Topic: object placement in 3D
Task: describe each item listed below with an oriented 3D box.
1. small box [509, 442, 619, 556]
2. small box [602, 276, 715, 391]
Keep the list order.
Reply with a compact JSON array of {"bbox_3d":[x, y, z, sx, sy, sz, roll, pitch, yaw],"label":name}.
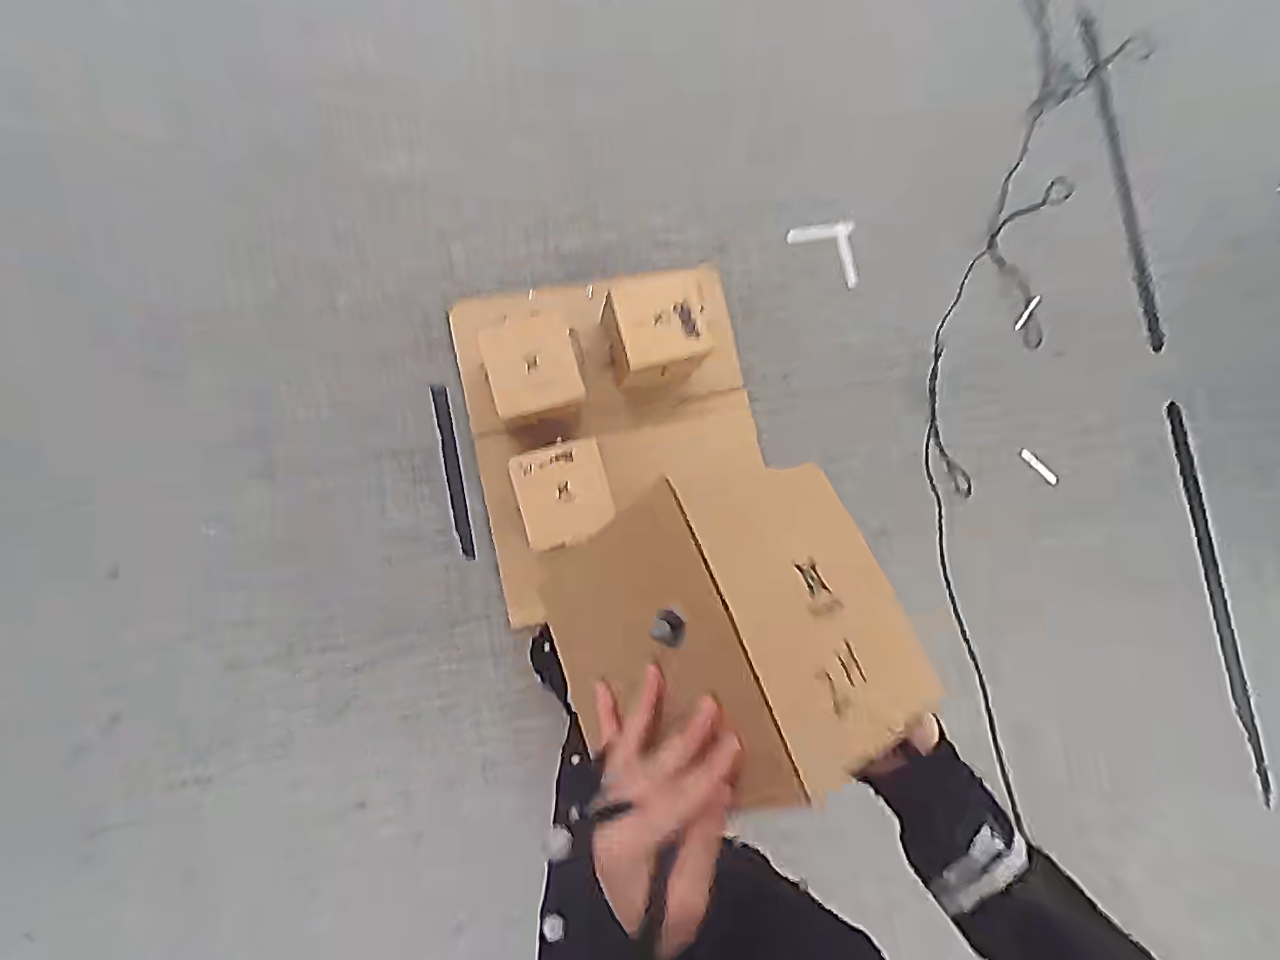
[{"bbox_3d":[-0.148,0.037,1.053,0.168,0.176,0.179,-16,88,-11],"label":"small box"},{"bbox_3d":[0.031,-0.296,1.119,0.179,0.176,0.168,-15,87,-10],"label":"small box"}]
